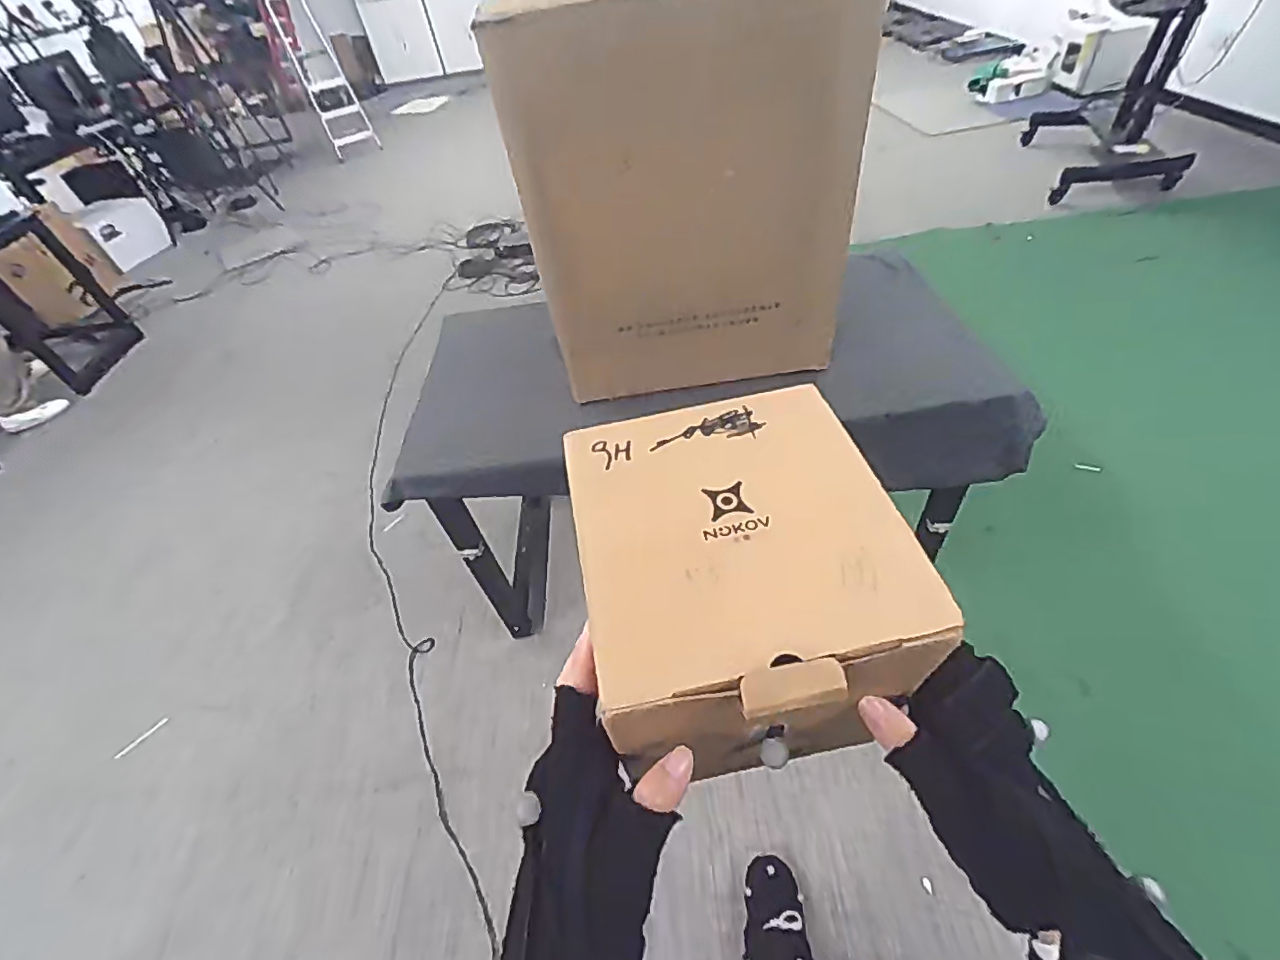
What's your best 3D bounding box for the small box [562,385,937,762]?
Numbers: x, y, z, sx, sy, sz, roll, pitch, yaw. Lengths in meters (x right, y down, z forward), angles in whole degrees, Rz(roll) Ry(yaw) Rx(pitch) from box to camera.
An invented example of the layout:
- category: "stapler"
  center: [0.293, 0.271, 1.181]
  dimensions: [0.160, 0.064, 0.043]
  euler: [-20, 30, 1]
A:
- category: "small box"
  center: [0.051, 0.069, 0.355]
  dimensions: [0.168, 0.176, 0.179]
  euler: [-11, 51, -3]
